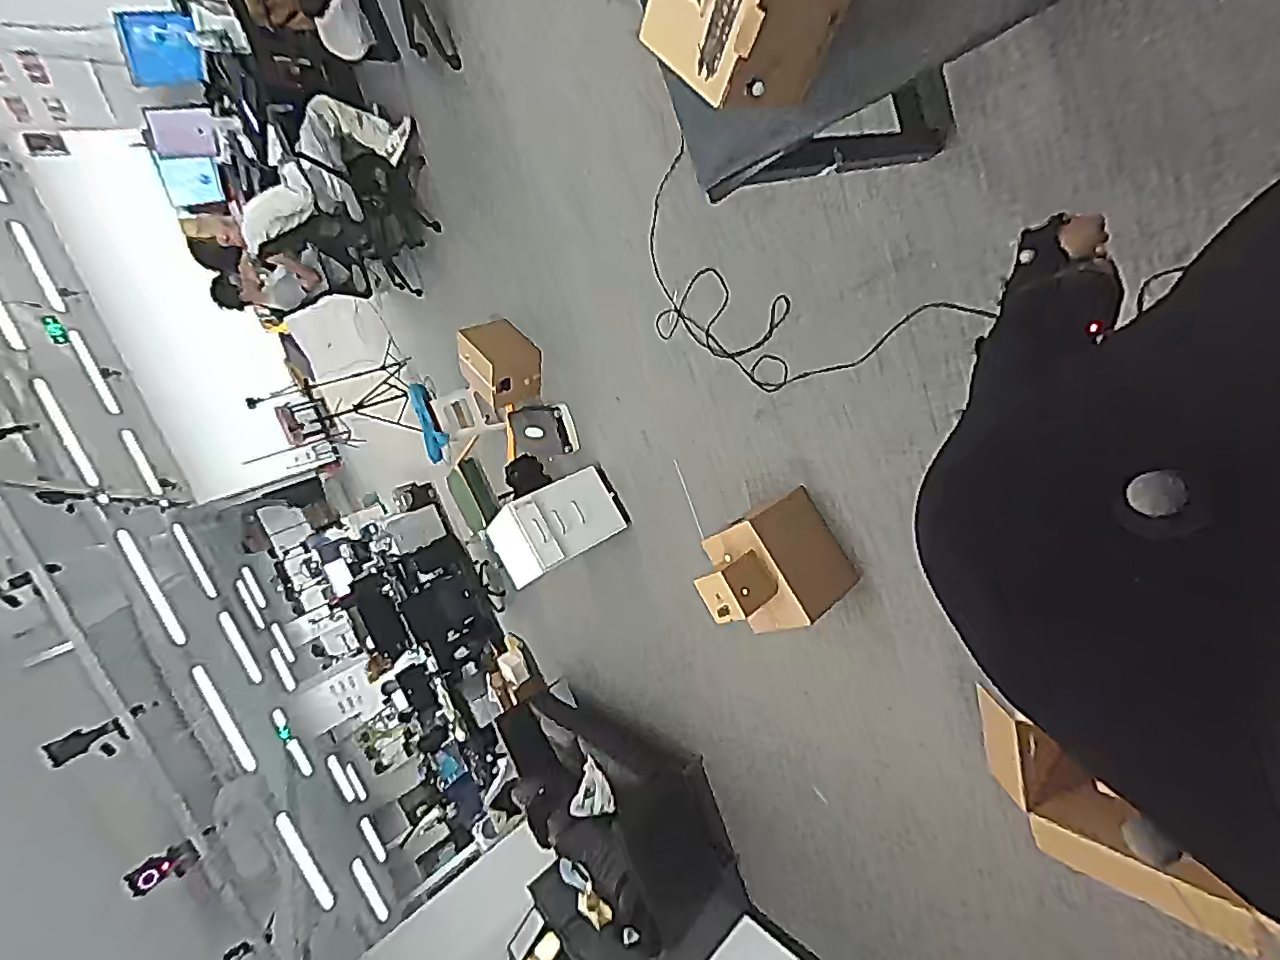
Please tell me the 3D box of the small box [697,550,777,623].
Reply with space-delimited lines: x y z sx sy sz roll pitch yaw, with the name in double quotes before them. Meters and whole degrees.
"small box" 0.338 0.367 1.864 0.179 0.176 0.168 61 146 5
